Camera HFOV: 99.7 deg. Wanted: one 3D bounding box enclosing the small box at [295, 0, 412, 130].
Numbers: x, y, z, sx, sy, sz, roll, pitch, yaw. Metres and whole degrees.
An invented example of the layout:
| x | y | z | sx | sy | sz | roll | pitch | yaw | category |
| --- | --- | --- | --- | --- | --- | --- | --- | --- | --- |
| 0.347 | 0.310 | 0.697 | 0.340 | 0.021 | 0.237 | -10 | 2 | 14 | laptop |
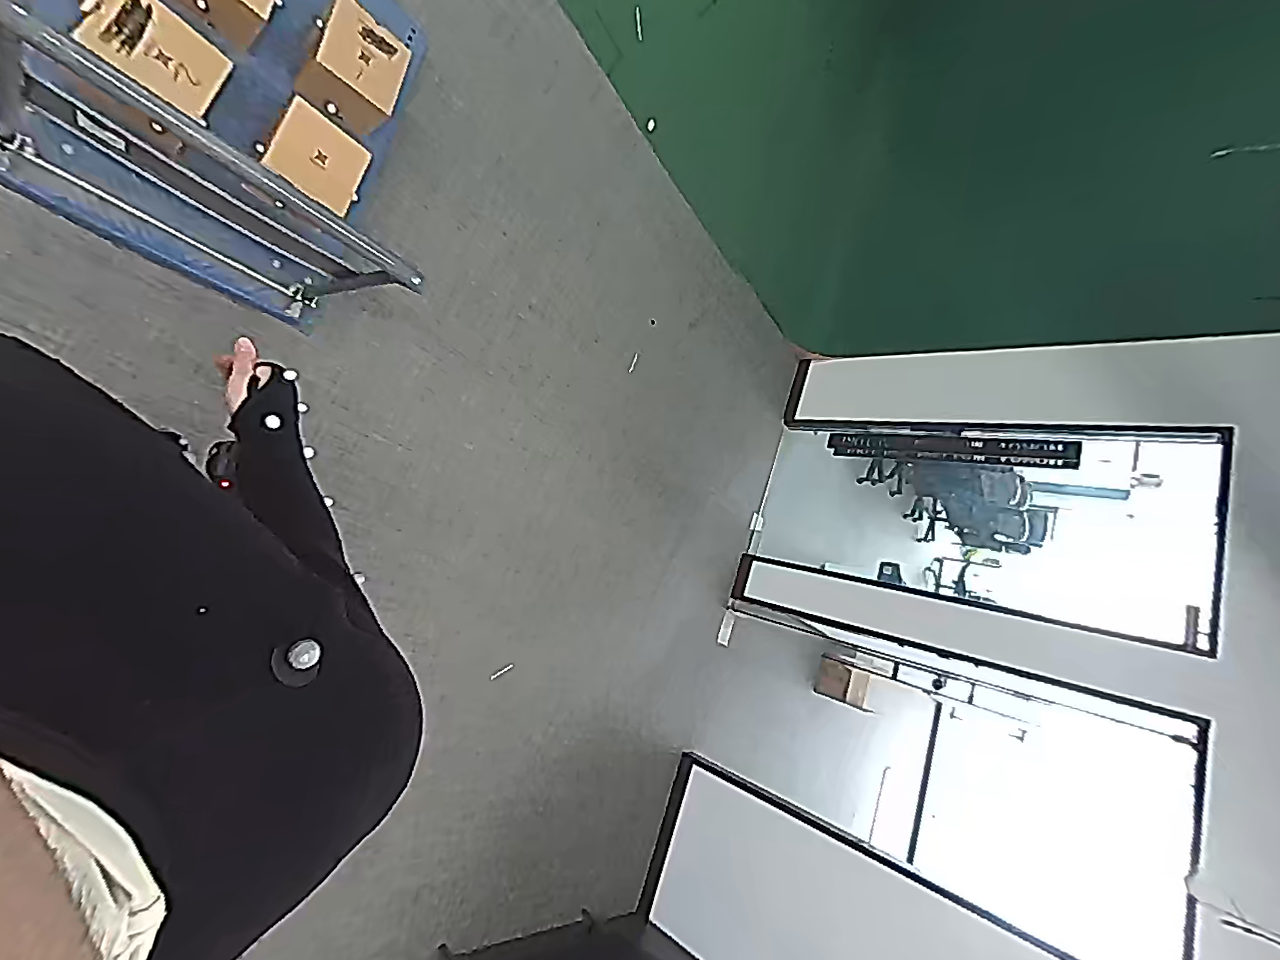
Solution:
| x | y | z | sx | sy | sz | roll | pitch | yaw | category |
| --- | --- | --- | --- | --- | --- | --- | --- | --- | --- |
| -0.663 | -0.960 | 1.247 | 0.168 | 0.176 | 0.179 | 22 | 81 | -48 | small box |

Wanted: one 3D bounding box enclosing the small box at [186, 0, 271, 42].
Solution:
| x | y | z | sx | sy | sz | roll | pitch | yaw | category |
| --- | --- | --- | --- | --- | --- | --- | --- | --- | --- |
| -0.819 | -1.021 | 1.057 | 0.168 | 0.176 | 0.179 | 23 | 79 | -49 | small box |

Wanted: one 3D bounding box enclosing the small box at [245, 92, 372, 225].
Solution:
| x | y | z | sx | sy | sz | roll | pitch | yaw | category |
| --- | --- | --- | --- | --- | --- | --- | --- | --- | --- |
| -0.742 | -0.705 | 1.205 | 0.168 | 0.176 | 0.179 | 29 | 76 | -48 | small box |
